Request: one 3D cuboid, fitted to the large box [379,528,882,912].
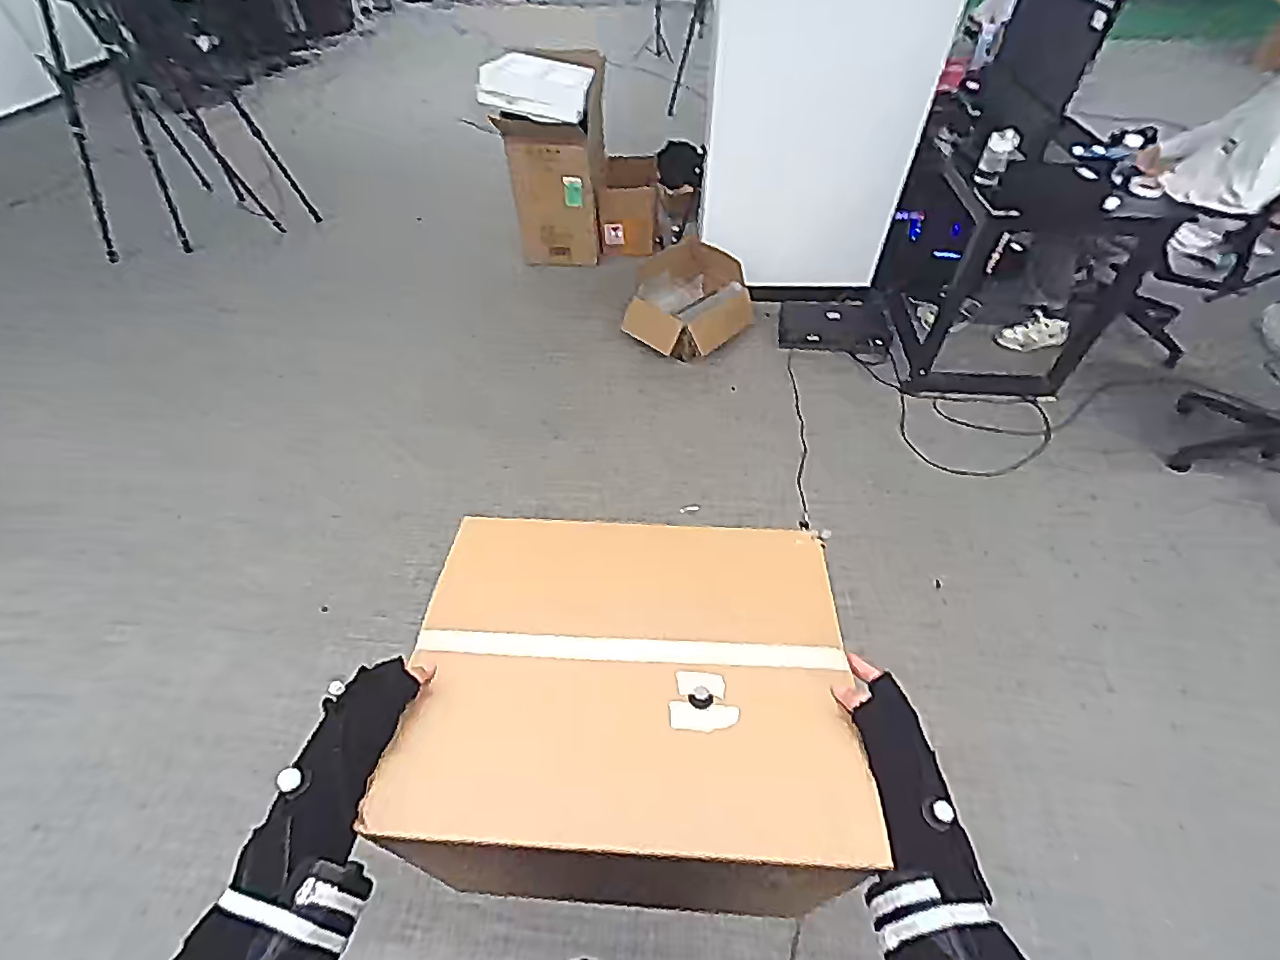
[{"bbox_3d":[-0.005,0.276,0.628,0.408,0.320,0.320,3,45,2],"label":"large box"}]
